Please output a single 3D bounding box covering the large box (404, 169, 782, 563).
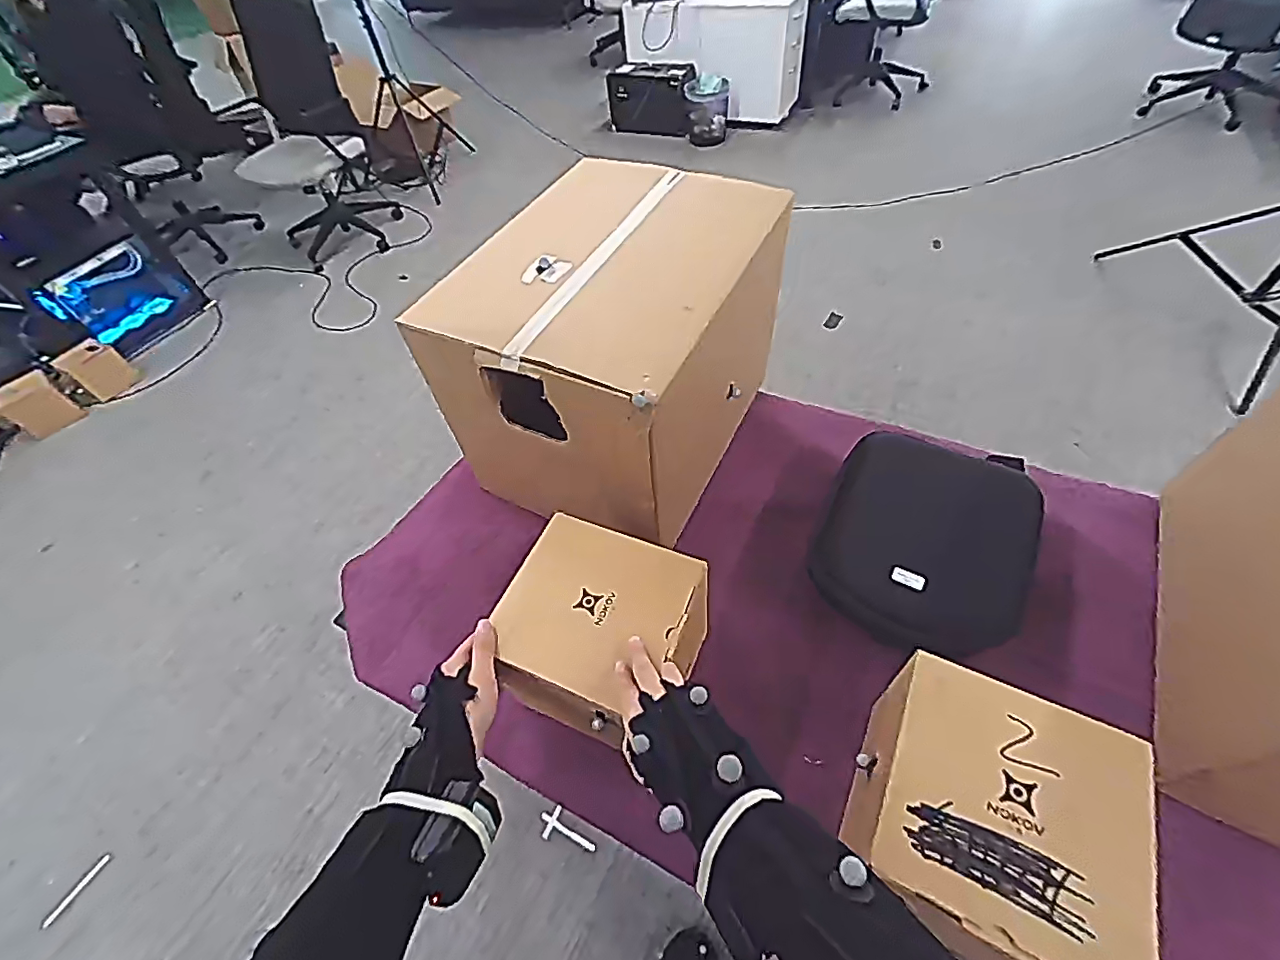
[{"bbox_3d":[-0.026,-0.164,0.755,0.320,0.320,0.408,19,59,19],"label":"large box"}]
